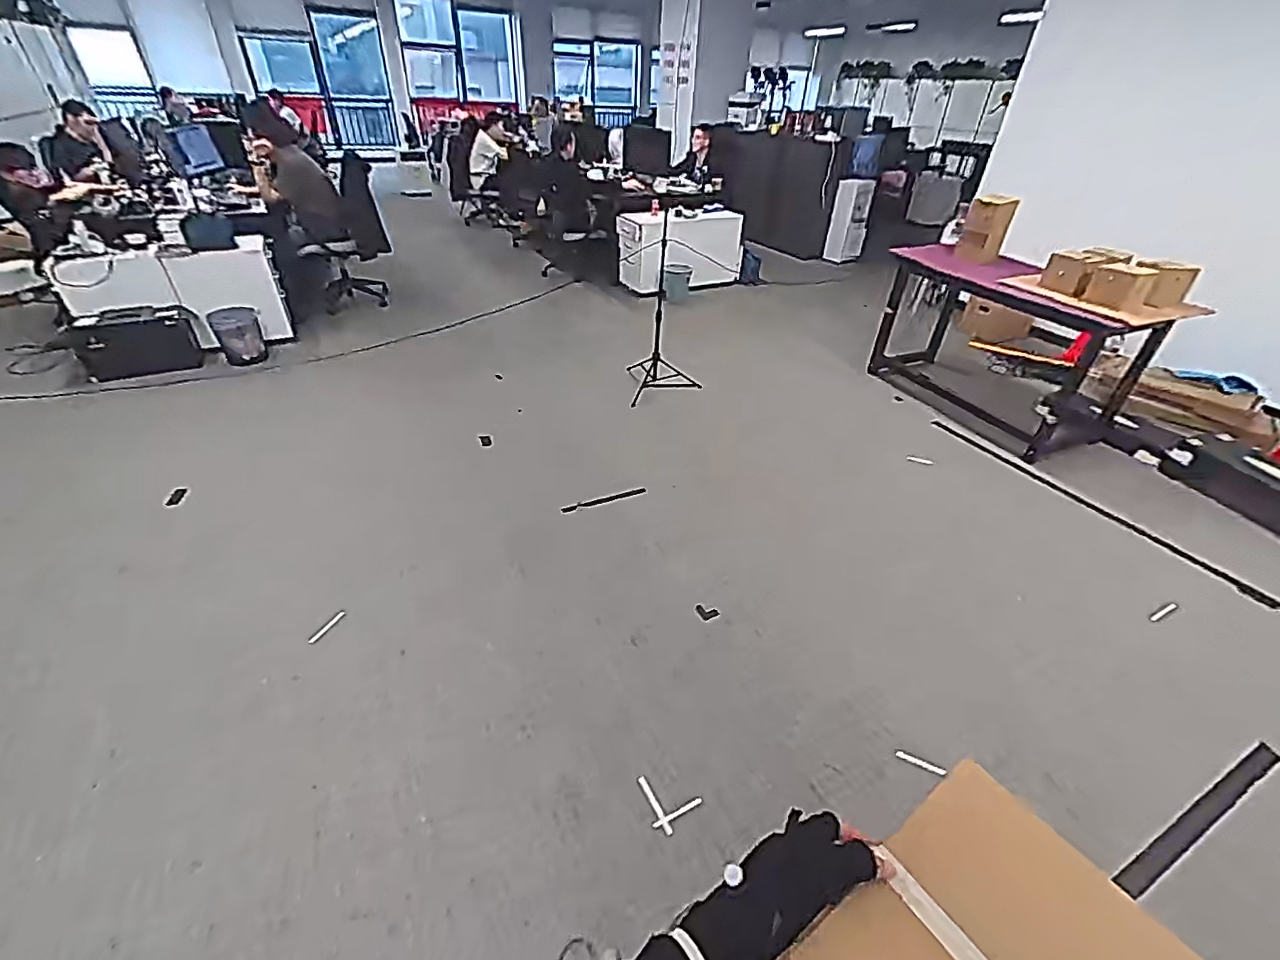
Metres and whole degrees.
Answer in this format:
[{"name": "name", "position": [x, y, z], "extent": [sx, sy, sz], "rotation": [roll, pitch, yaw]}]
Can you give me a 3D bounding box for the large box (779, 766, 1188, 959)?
[{"name": "large box", "position": [0.314, 0.557, 0.449], "extent": [0.320, 0.320, 0.408], "rotation": [-21, 44, -29]}]
